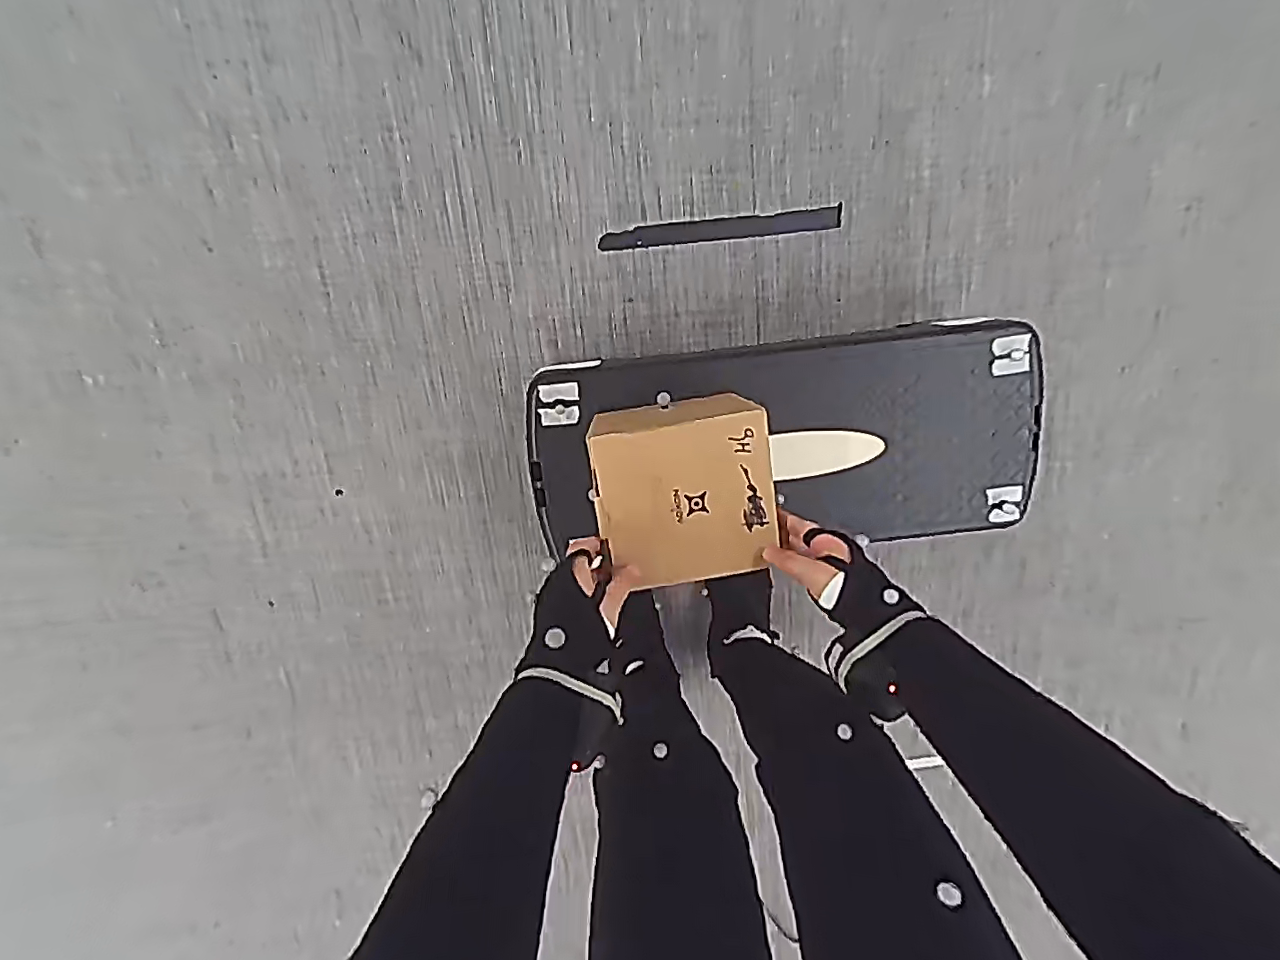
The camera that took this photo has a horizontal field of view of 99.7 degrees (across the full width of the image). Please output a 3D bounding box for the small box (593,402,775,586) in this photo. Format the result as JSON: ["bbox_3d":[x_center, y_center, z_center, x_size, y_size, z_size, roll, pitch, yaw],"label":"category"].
[{"bbox_3d":[0.043,0.003,0.622,0.179,0.176,0.168,-9,104,1],"label":"small box"}]
